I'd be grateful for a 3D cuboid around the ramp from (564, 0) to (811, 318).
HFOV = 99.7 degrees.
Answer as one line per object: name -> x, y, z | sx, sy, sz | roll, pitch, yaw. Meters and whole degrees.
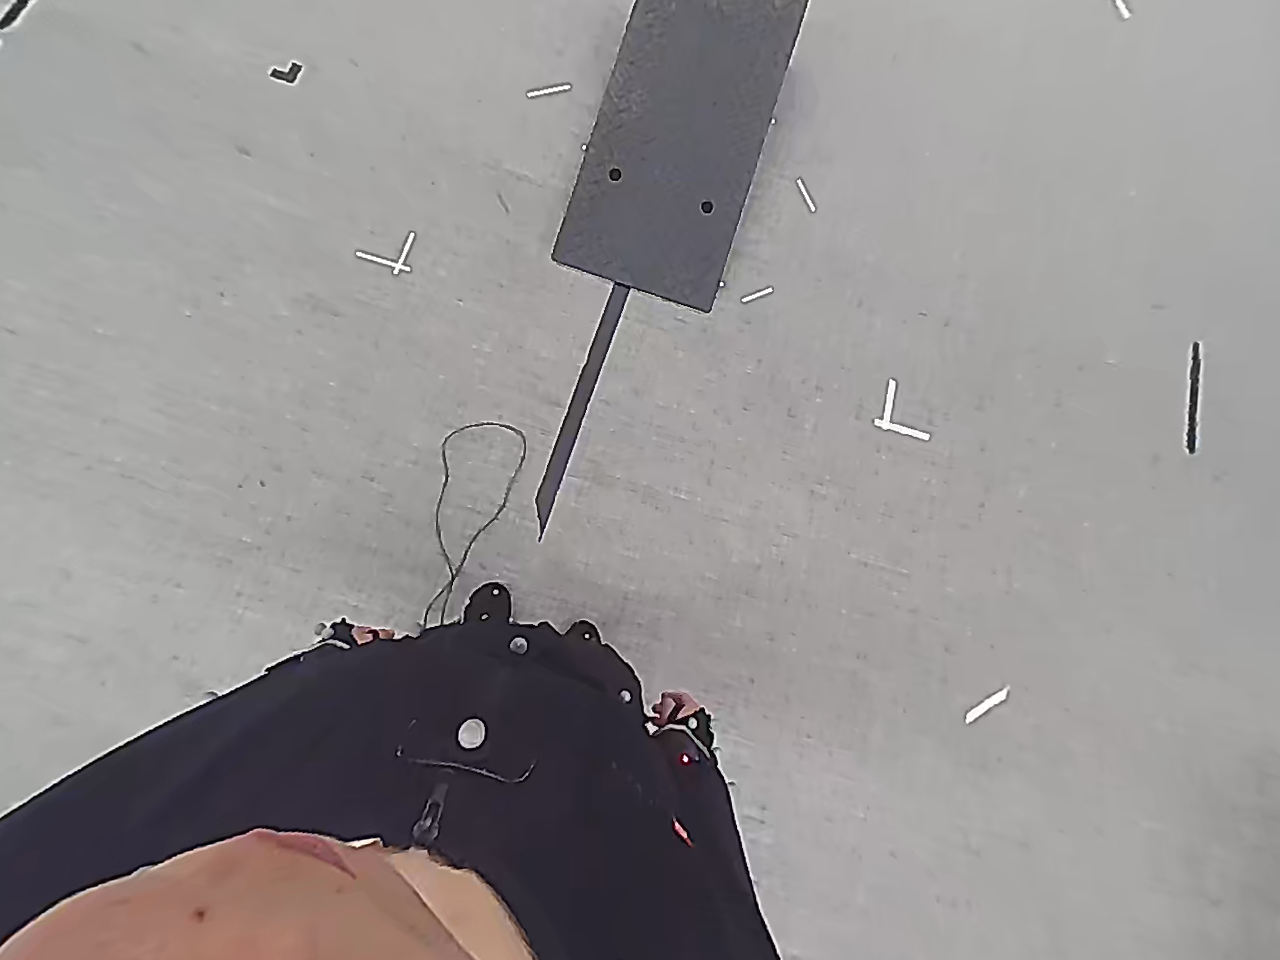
ramp -> 0.149, -1.016, 1.612 | 0.509, 0.206, 0.991 | 16, 78, -4
